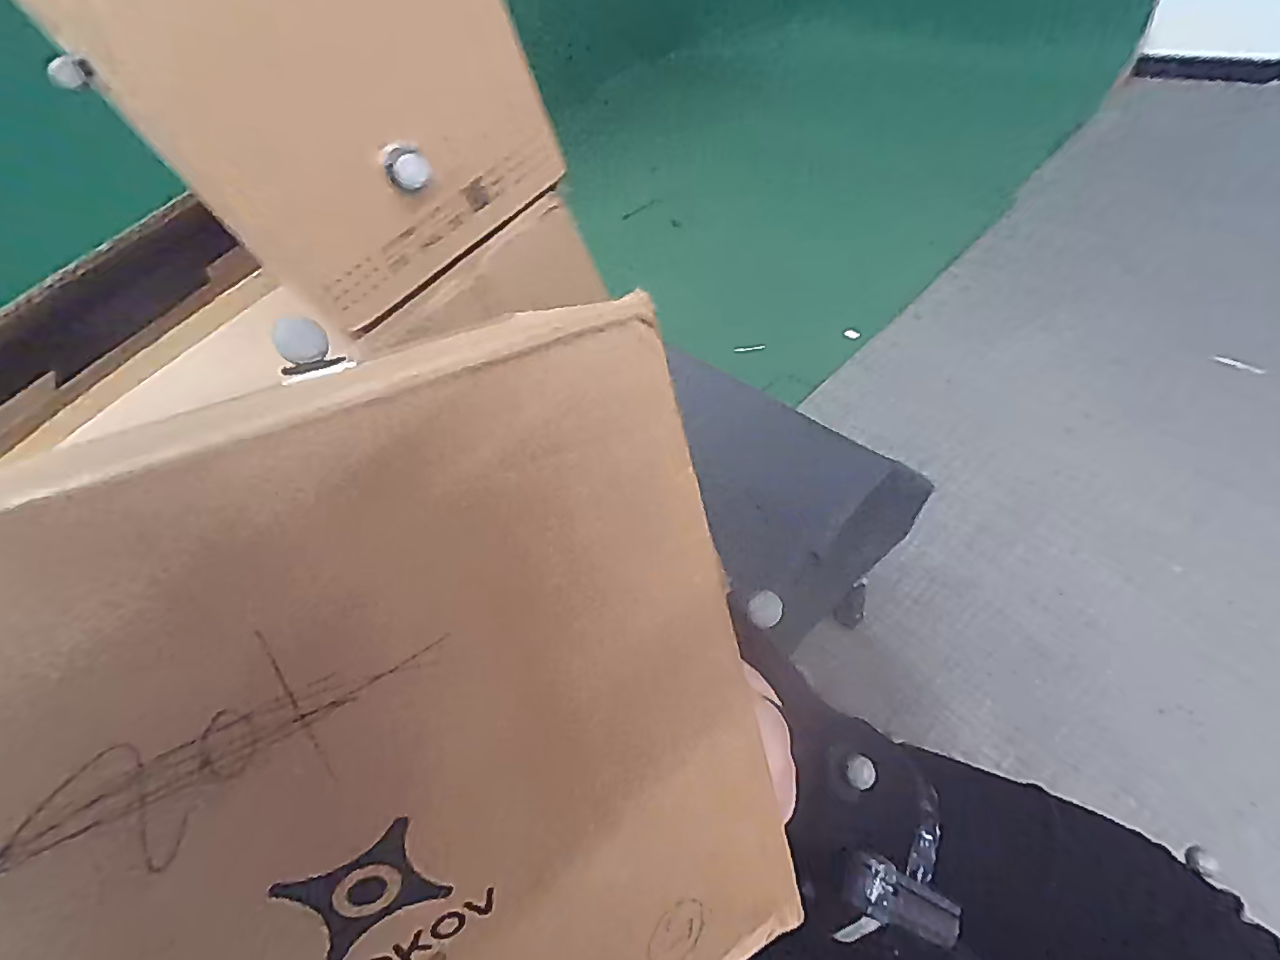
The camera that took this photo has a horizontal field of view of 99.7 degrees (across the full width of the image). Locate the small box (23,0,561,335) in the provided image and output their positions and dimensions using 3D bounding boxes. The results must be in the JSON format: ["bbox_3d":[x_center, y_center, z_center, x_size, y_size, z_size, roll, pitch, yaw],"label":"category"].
[{"bbox_3d":[-0.177,-0.210,0.301,0.168,0.176,0.179,-45,55,-14],"label":"small box"}]
